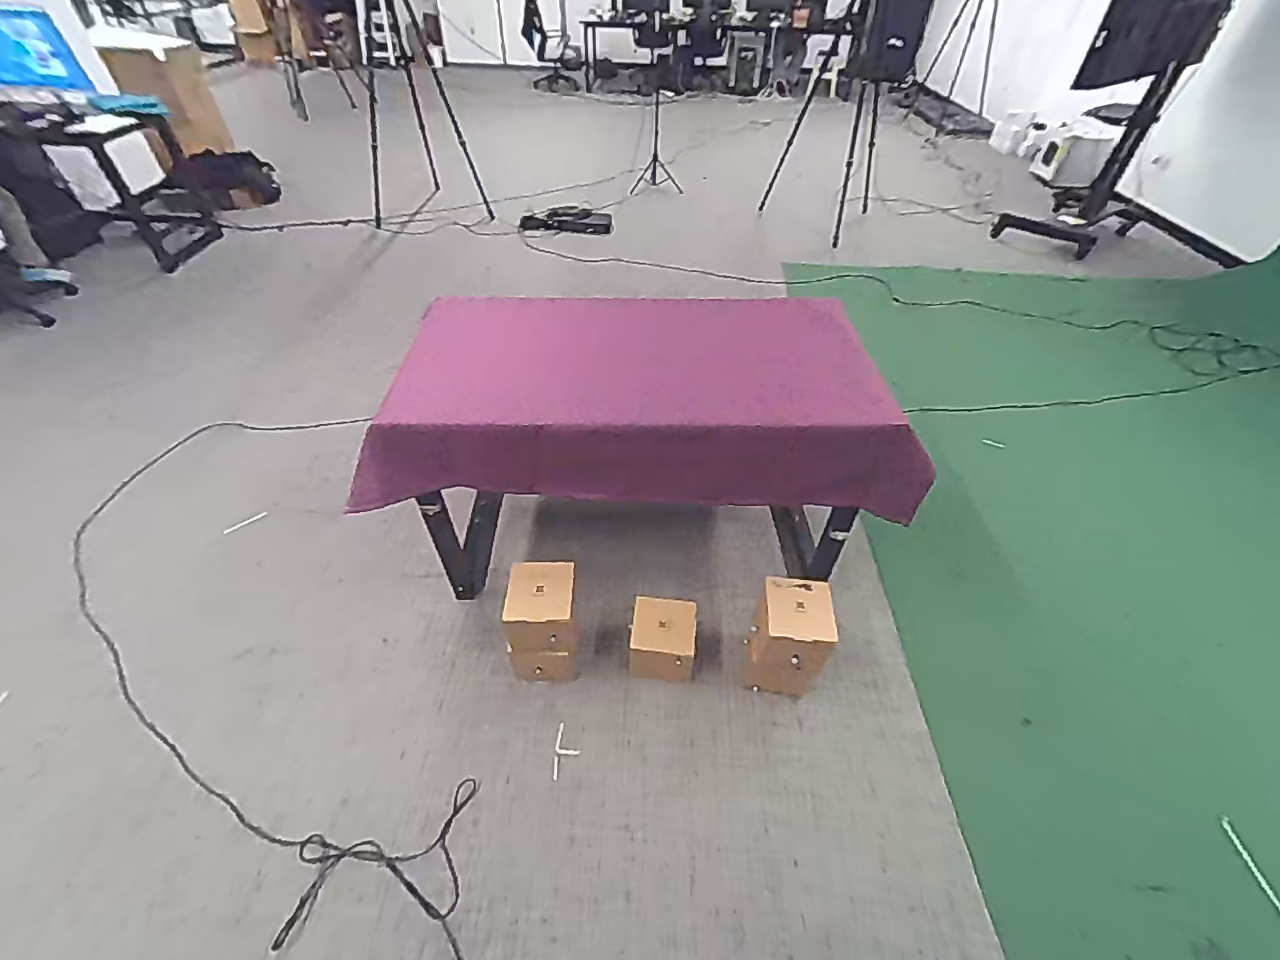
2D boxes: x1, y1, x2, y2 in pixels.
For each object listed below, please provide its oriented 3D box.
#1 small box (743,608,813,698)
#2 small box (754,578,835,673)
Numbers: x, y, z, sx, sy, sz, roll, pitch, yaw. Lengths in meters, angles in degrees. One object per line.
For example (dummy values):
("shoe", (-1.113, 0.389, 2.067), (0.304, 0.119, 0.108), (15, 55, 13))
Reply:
("small box", (0.388, 0.492, 1.528), (0.168, 0.176, 0.179), (9, 45, 7))
("small box", (0.394, 0.381, 1.406), (0.168, 0.176, 0.179), (6, 46, 4))
